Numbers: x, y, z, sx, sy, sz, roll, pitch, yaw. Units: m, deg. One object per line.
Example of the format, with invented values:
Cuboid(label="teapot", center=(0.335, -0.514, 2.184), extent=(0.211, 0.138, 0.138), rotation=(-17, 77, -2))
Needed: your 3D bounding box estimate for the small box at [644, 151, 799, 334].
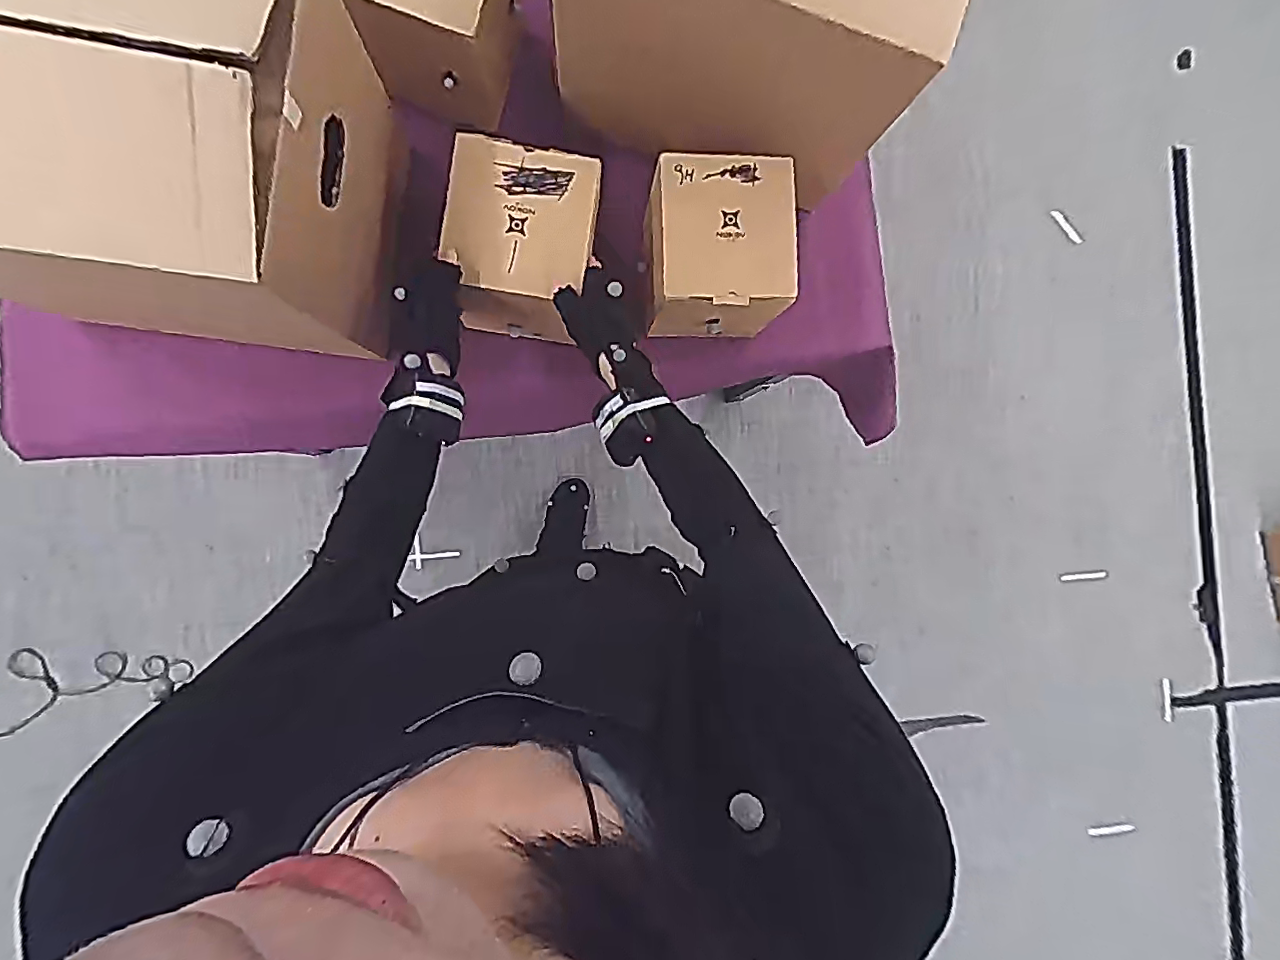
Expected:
Cuboid(label="small box", center=(0.098, -0.298, 0.716), extent=(0.168, 0.176, 0.179), rotation=(-2, 90, -7))
